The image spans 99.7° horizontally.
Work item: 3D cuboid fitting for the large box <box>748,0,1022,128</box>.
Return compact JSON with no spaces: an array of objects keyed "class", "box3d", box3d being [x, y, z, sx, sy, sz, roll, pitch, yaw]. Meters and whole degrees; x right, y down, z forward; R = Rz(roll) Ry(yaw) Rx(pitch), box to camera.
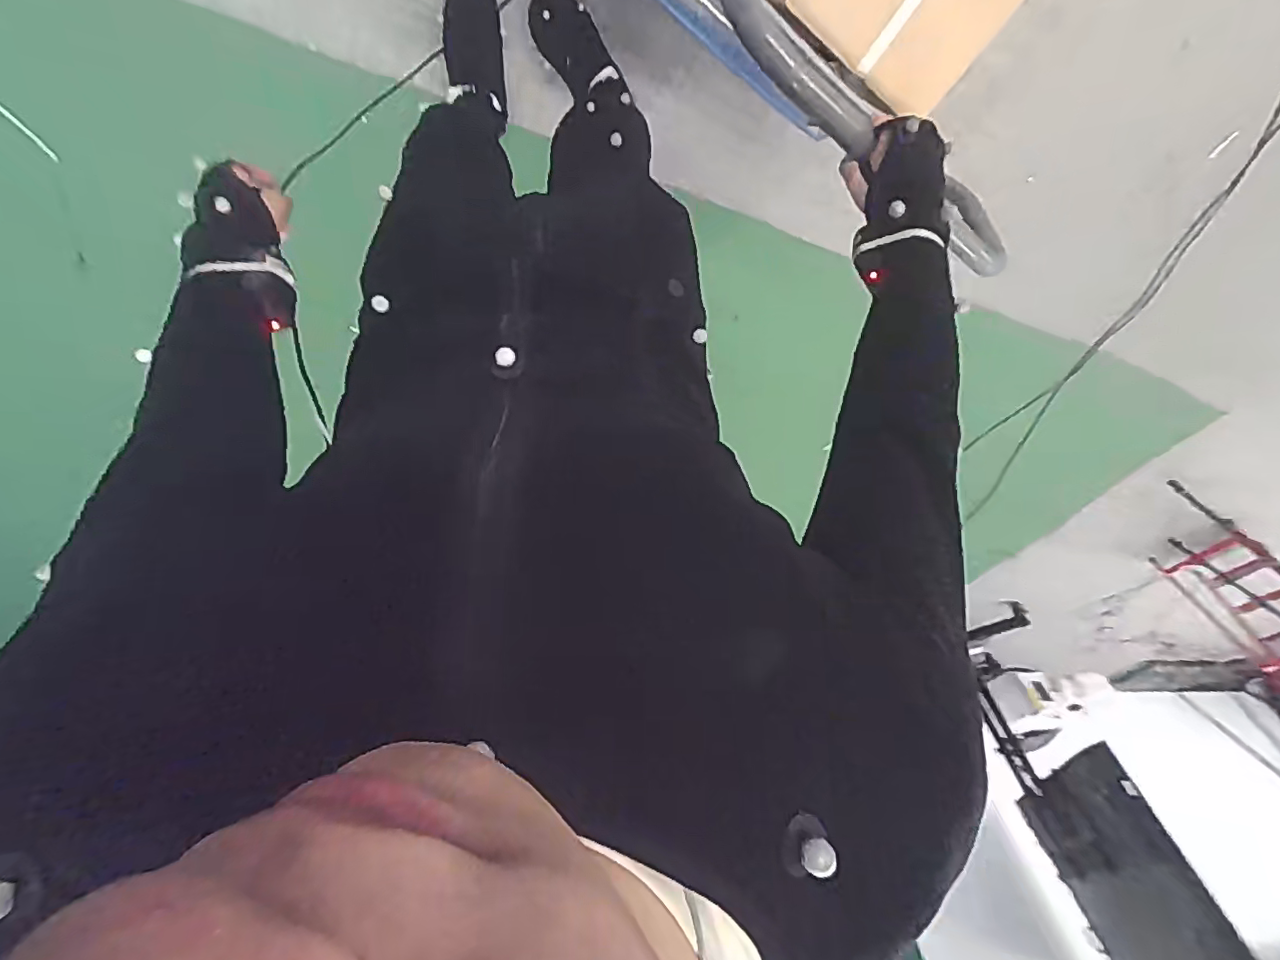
[{"class":"large box","box3d":[0.418,-0.858,0.823,0.320,0.320,0.408,18,130,-29]}]
